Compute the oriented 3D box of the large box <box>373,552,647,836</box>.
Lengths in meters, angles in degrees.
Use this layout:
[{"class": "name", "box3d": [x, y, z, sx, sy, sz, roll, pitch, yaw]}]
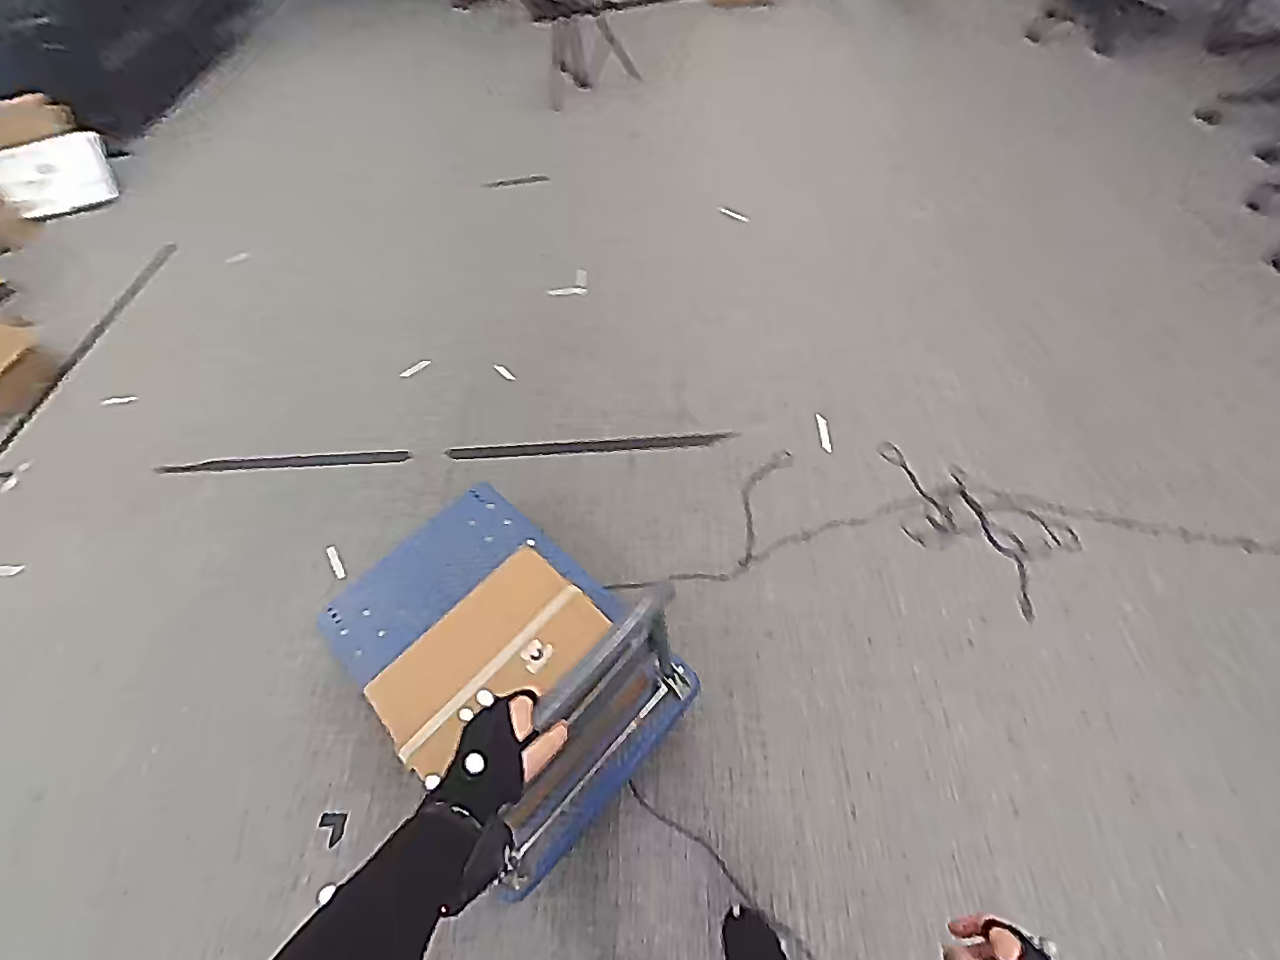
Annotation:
[{"class": "large box", "box3d": [-0.239, 0.439, 1.117, 0.320, 0.320, 0.408, 37, 67, 27]}]
